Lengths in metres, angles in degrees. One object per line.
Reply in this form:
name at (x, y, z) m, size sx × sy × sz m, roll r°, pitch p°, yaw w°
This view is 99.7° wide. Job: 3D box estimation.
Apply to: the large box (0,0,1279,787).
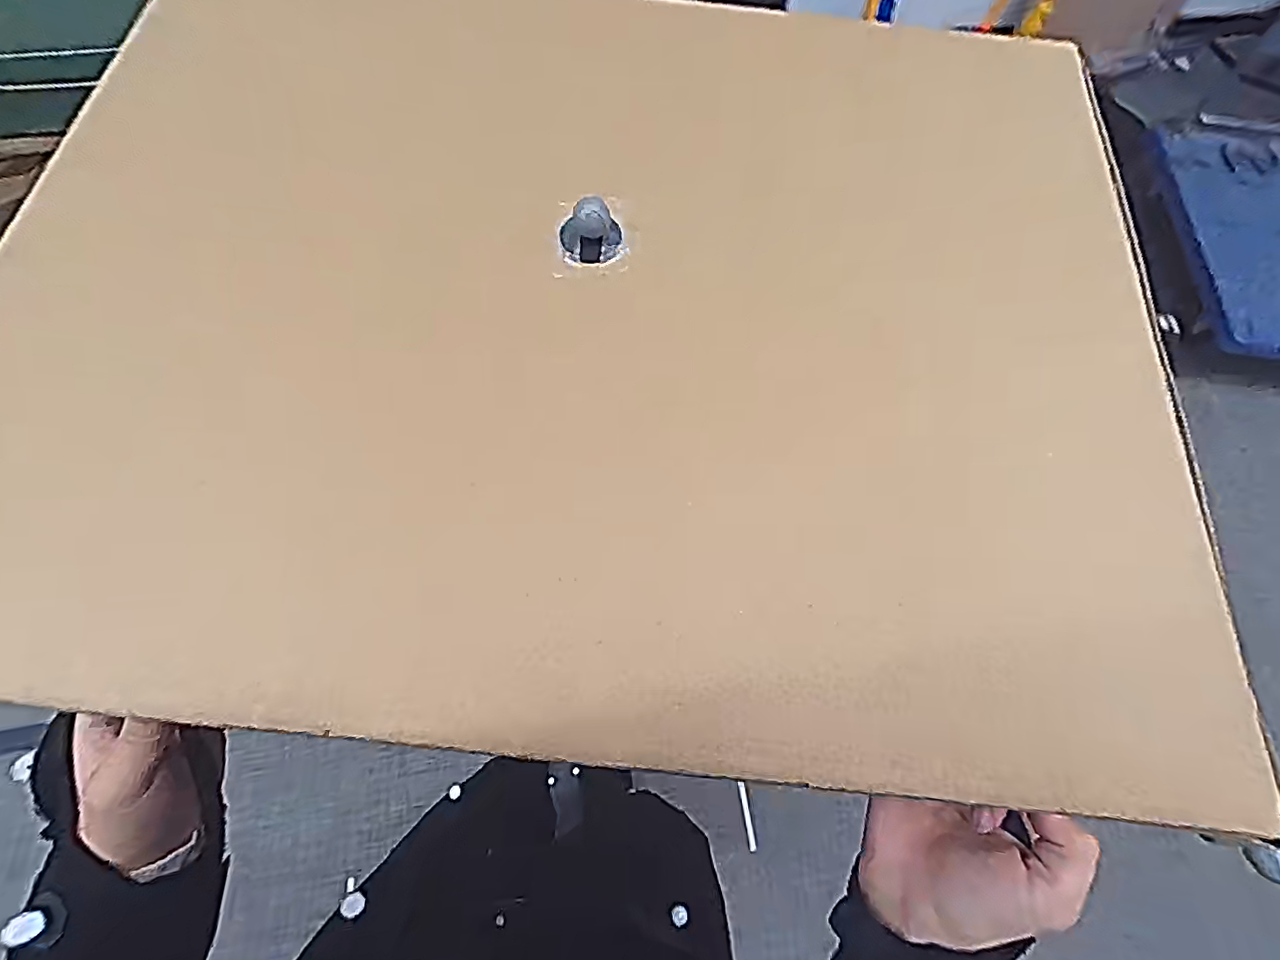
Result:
large box at (-0.021, -0.034, 0.331) m, size 0.408 × 0.320 × 0.320 m, roll 6°, pitch 72°, yaw 1°
